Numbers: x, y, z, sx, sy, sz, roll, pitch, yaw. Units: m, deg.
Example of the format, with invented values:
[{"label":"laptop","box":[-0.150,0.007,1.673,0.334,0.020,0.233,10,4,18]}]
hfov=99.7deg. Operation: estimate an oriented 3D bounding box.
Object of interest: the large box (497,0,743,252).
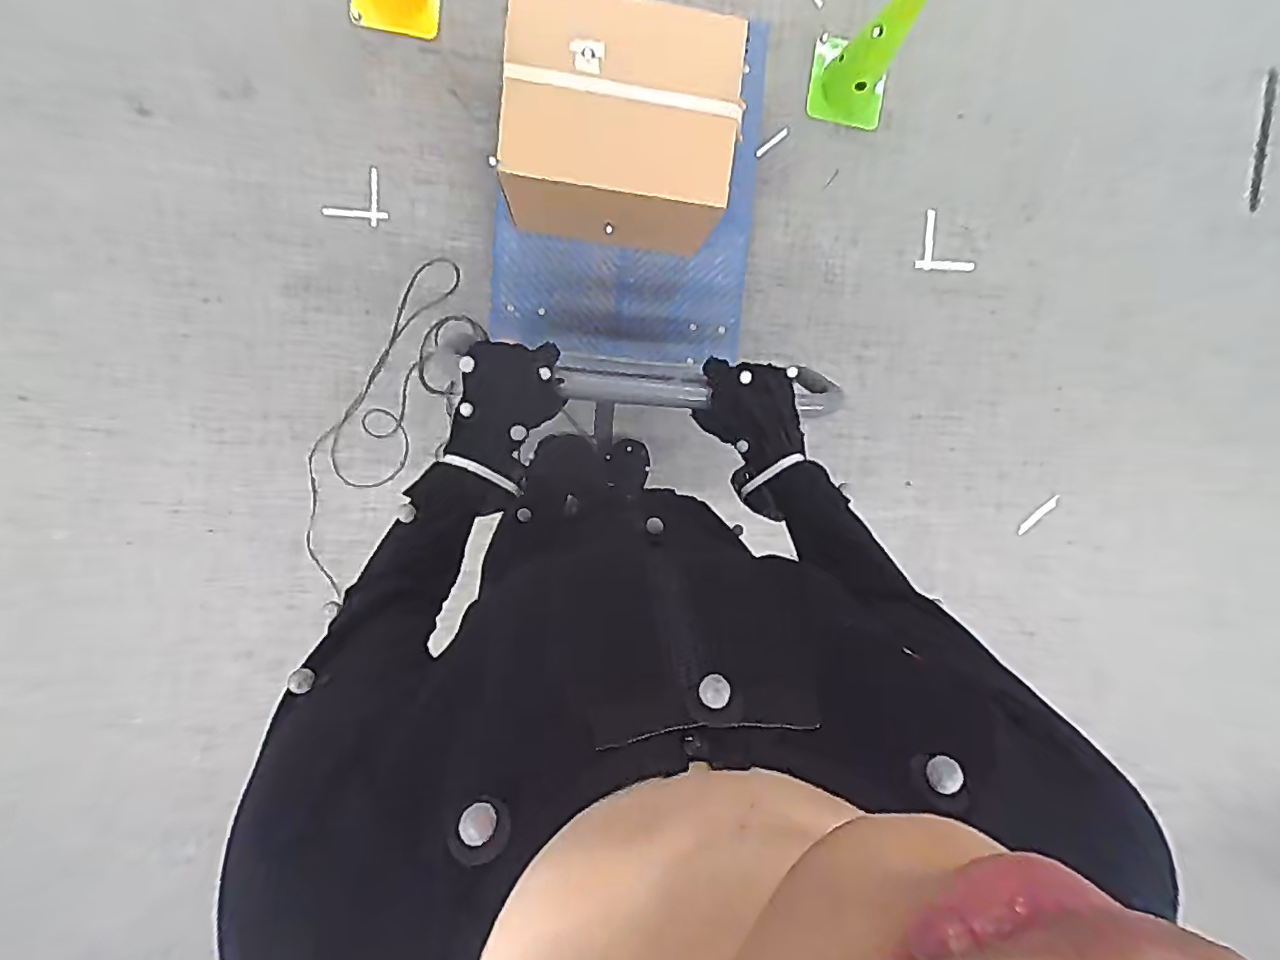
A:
[{"label":"large box","box":[-0.045,-0.671,1.071,0.408,0.320,0.320,6,96,-6]}]

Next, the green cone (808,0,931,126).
[{"label":"green cone","box":[0.563,-1.025,1.242,0.202,0.368,0.200,7,96,-8]}]
